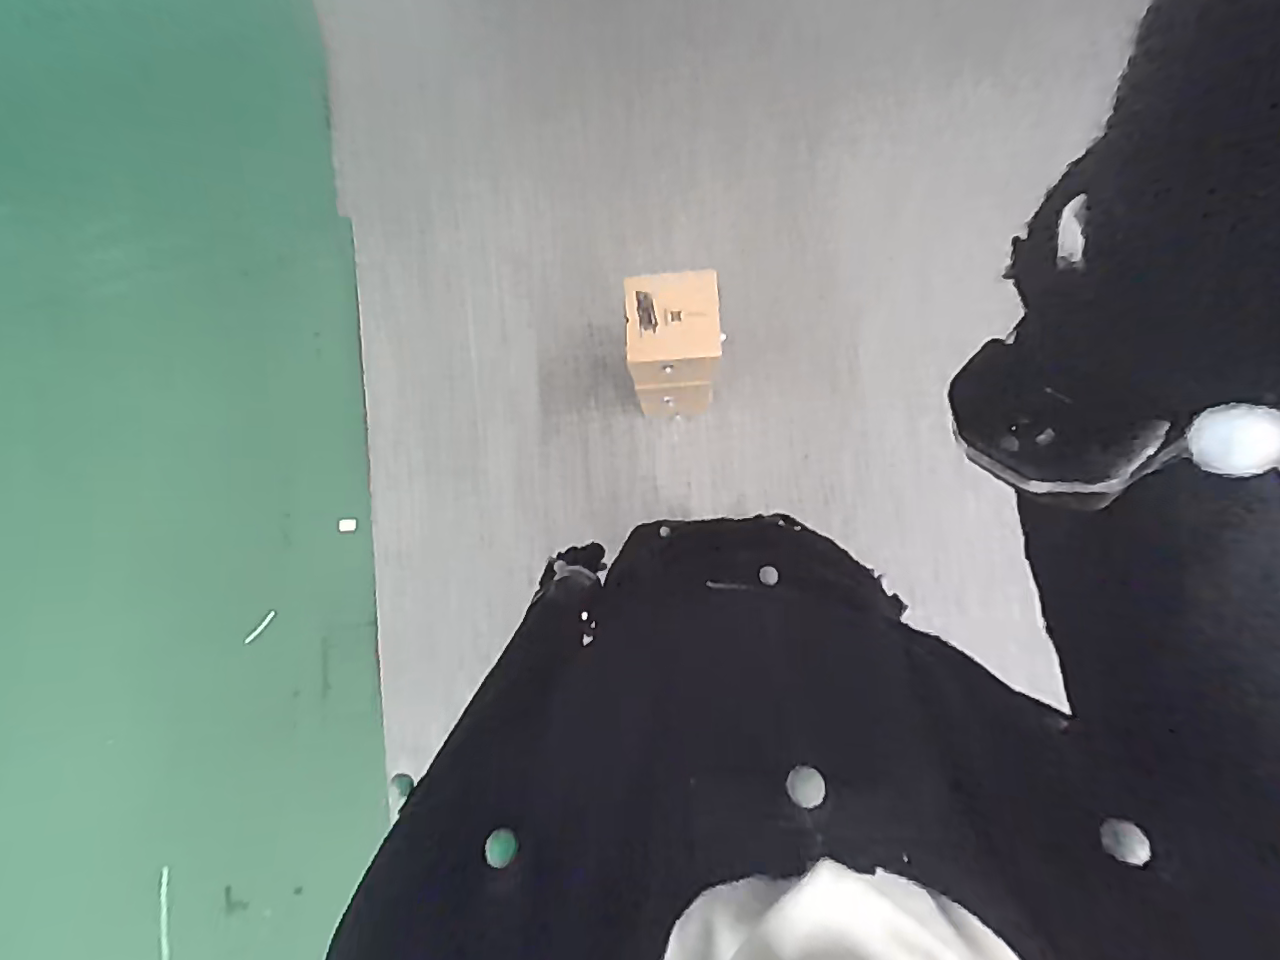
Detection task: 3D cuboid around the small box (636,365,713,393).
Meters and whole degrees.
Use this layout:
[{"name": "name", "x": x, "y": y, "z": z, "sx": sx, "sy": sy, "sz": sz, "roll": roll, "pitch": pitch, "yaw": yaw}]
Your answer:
[{"name": "small box", "x": 0.078, "y": -0.308, "z": 1.237, "sx": 0.168, "sy": 0.176, "sz": 0.179, "roll": -3, "pitch": 87, "yaw": 7}]

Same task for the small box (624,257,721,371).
[{"name": "small box", "x": 0.068, "y": -0.319, "z": 1.073, "sx": 0.179, "sy": 0.176, "sz": 0.168, "roll": -2, "pitch": 86, "yaw": 6}]

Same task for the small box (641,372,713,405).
[{"name": "small box", "x": 0.094, "y": -0.292, "z": 1.398, "sx": 0.179, "sy": 0.176, "sz": 0.168, "roll": -2, "pitch": 86, "yaw": 5}]
